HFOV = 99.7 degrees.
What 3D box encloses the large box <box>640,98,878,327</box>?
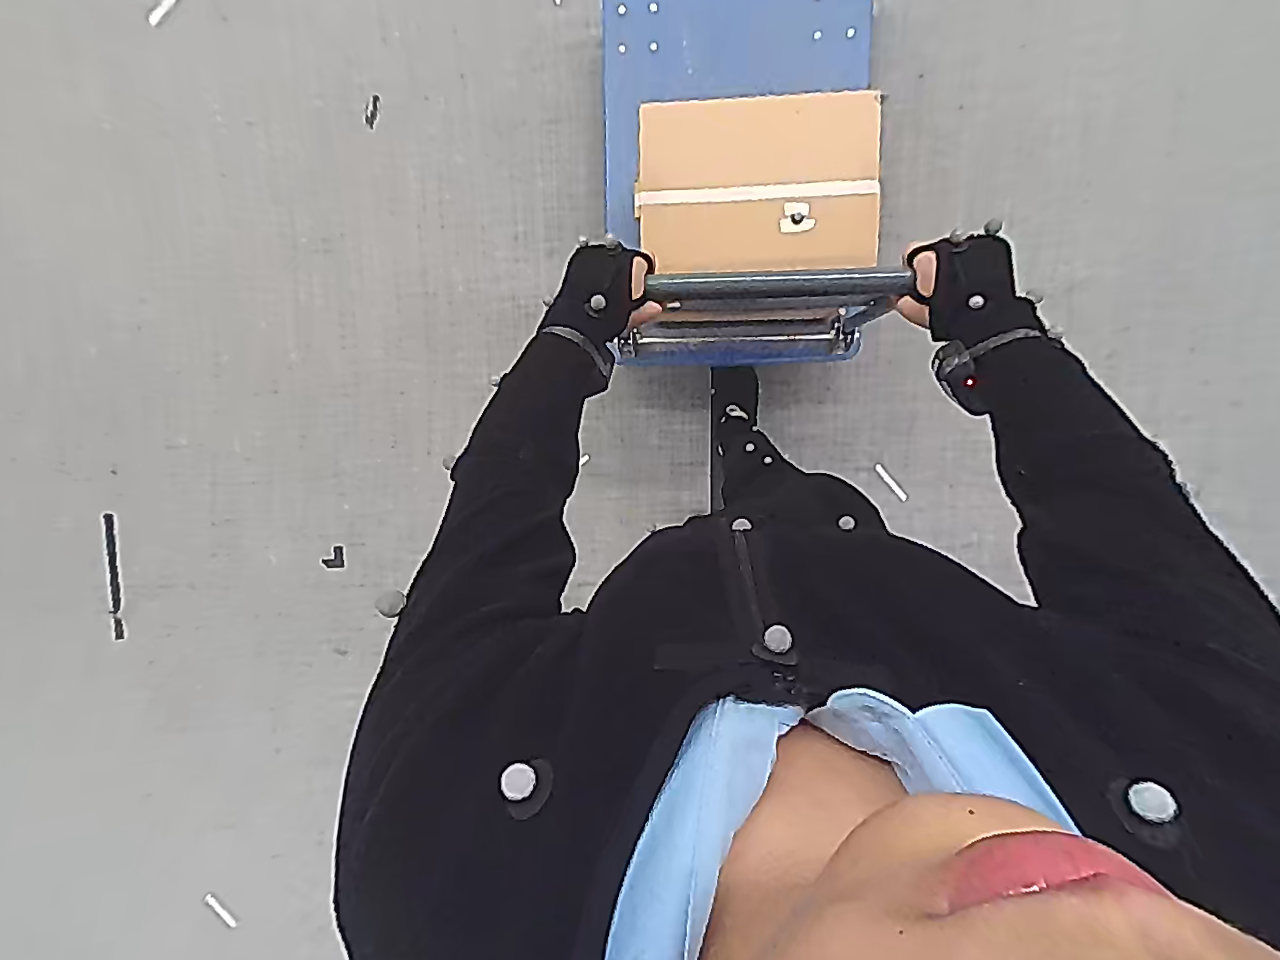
[{"bbox_3d":[0.210,-0.494,1.075,0.408,0.320,0.320,0,96,4],"label":"large box"}]
